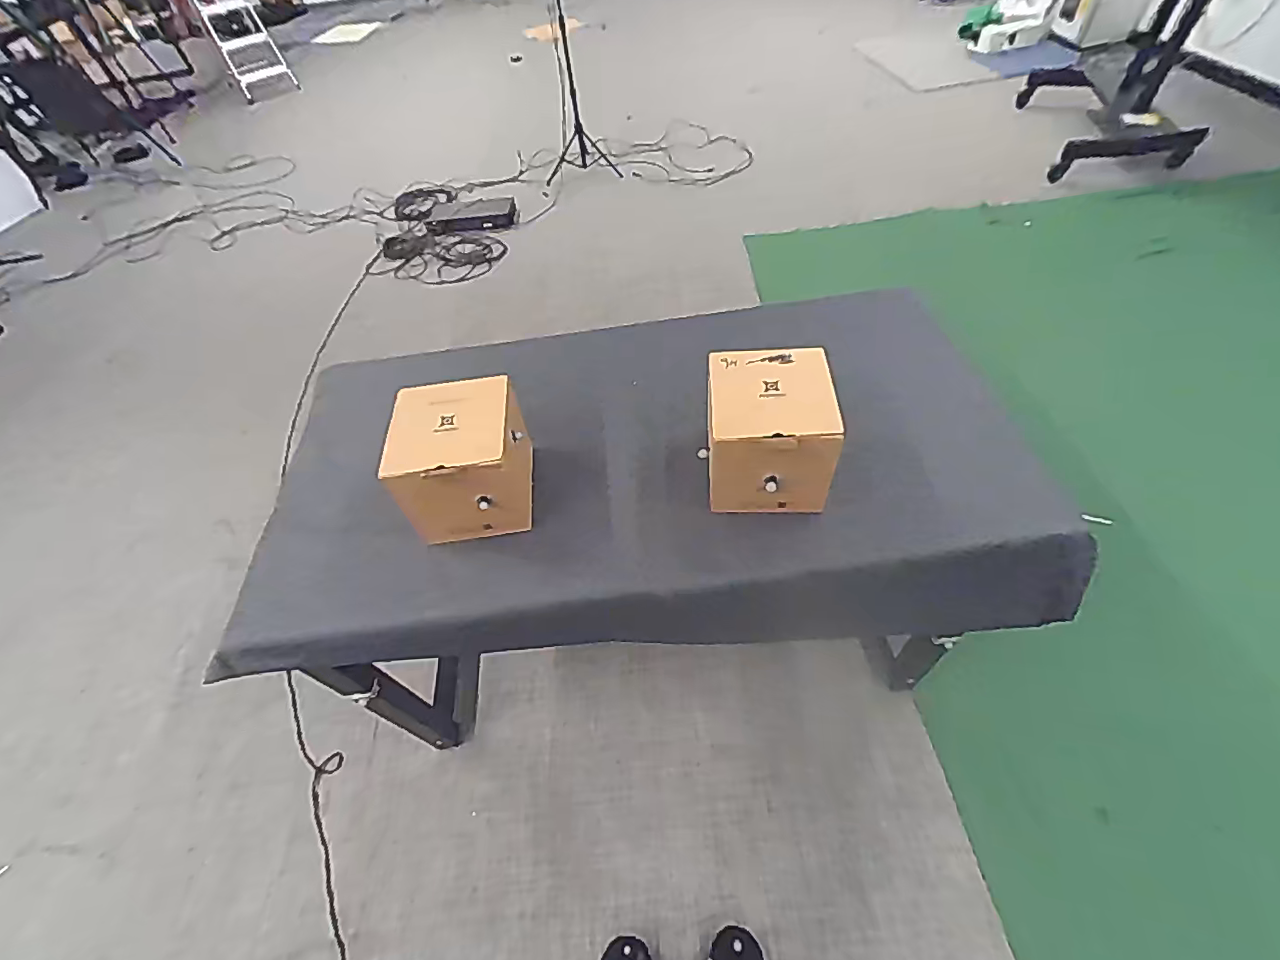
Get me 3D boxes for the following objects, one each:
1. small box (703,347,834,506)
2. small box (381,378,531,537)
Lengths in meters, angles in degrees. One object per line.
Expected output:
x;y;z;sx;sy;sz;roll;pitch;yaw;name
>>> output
0.180;-0.073;0.803;0.168;0.176;0.179;-1;53;6;small box
-0.266;-0.027;0.828;0.168;0.176;0.179;-8;50;-1;small box
